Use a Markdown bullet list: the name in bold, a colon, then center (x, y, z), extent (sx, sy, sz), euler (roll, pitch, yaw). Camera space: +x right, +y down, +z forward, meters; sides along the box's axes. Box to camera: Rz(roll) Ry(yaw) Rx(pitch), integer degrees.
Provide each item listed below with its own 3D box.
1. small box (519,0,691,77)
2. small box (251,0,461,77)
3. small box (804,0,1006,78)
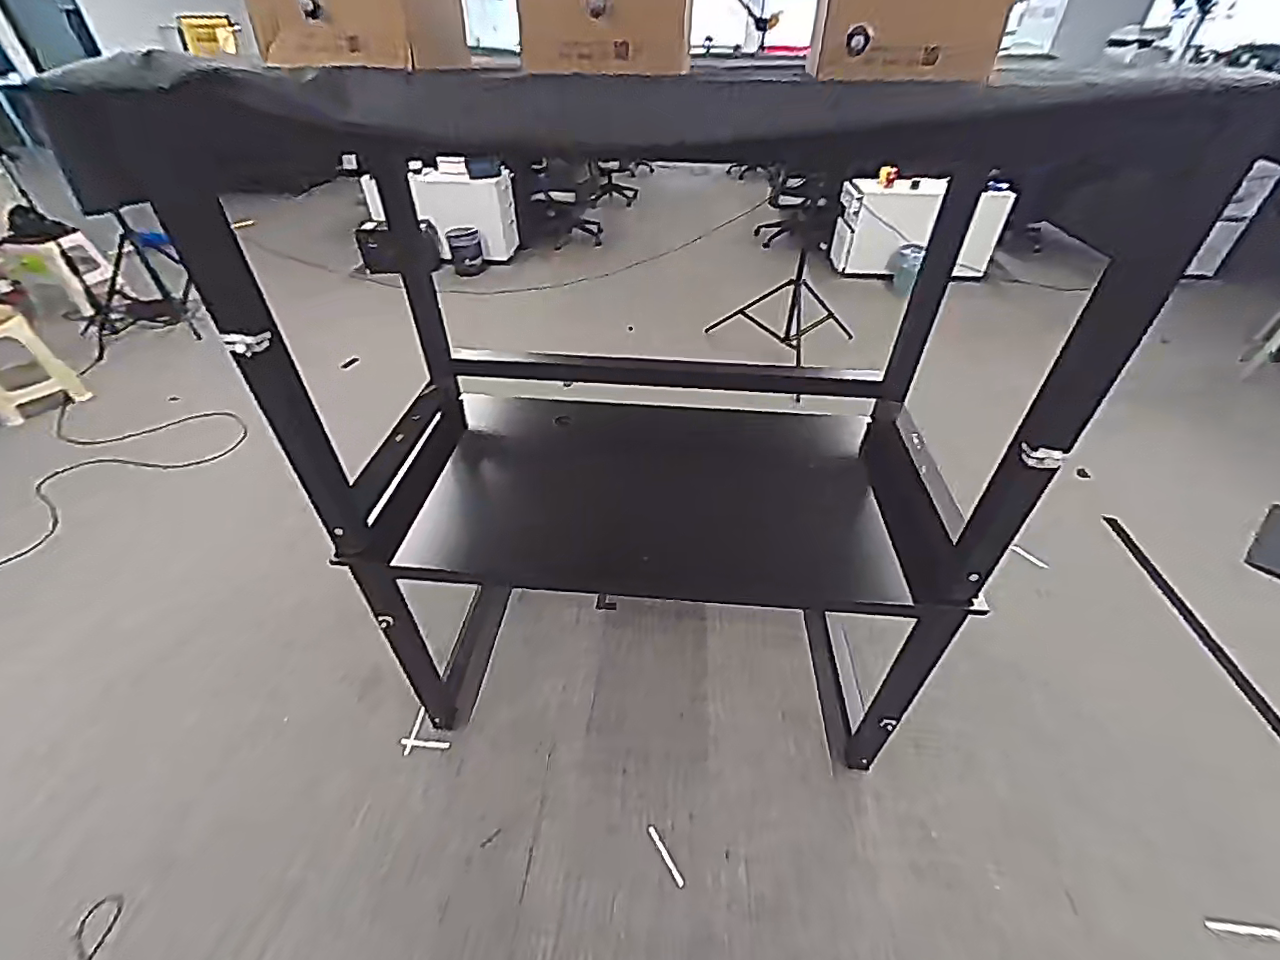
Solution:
- **small box**: center (-0.031, -0.529, 0.560), extent (0.168, 0.176, 0.179), euler (4, 38, 5)
- **small box**: center (-0.303, -0.543, 0.576), extent (0.168, 0.176, 0.179), euler (4, 39, 2)
- **small box**: center (0.268, -0.513, 0.544), extent (0.168, 0.176, 0.179), euler (6, 39, 7)
